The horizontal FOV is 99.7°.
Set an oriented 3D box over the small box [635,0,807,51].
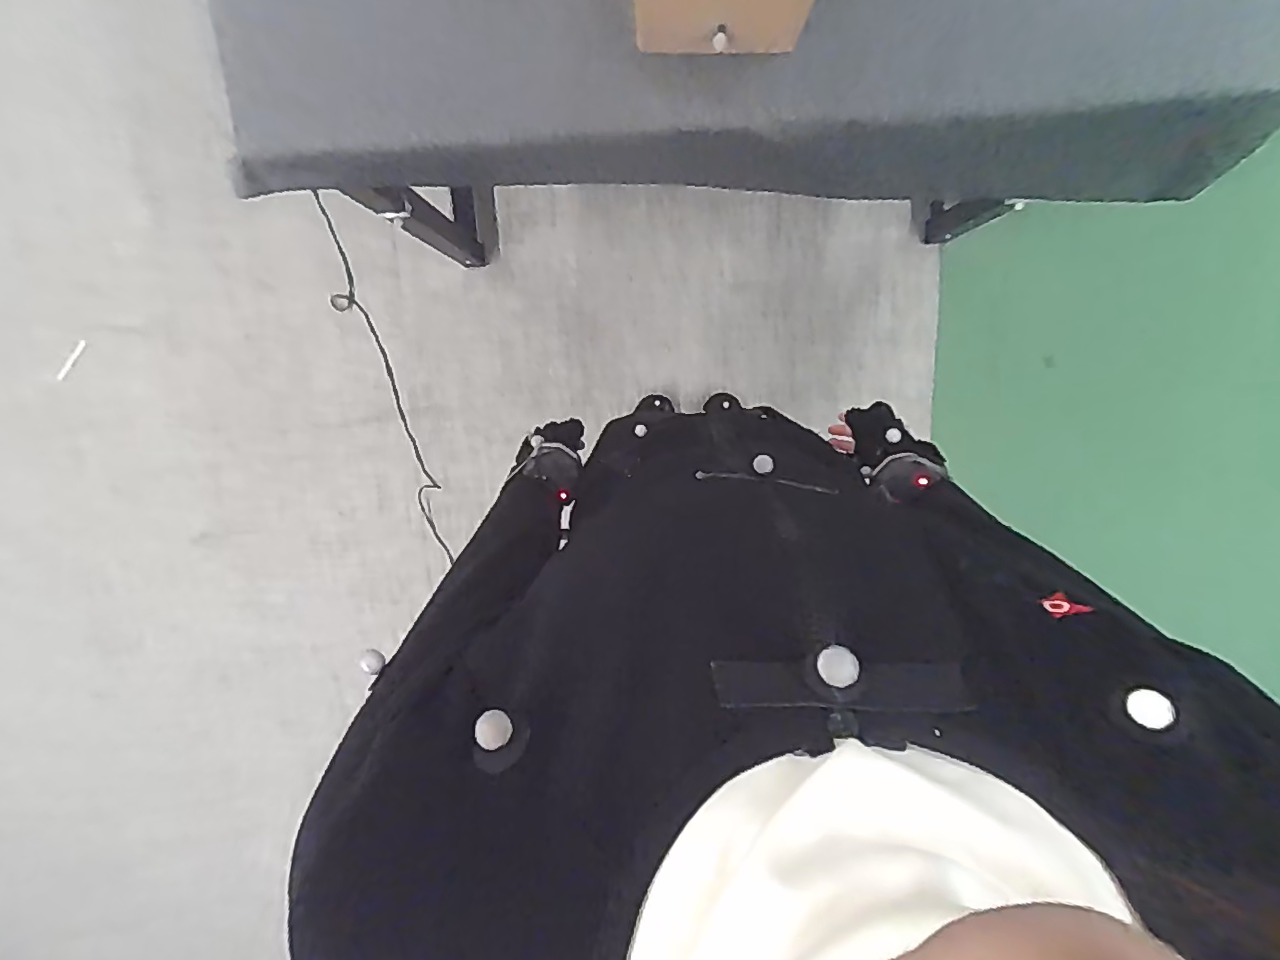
[{"bbox_3d":[0.084,-0.551,0.517,0.179,0.176,0.168,0,99,0],"label":"small box"}]
